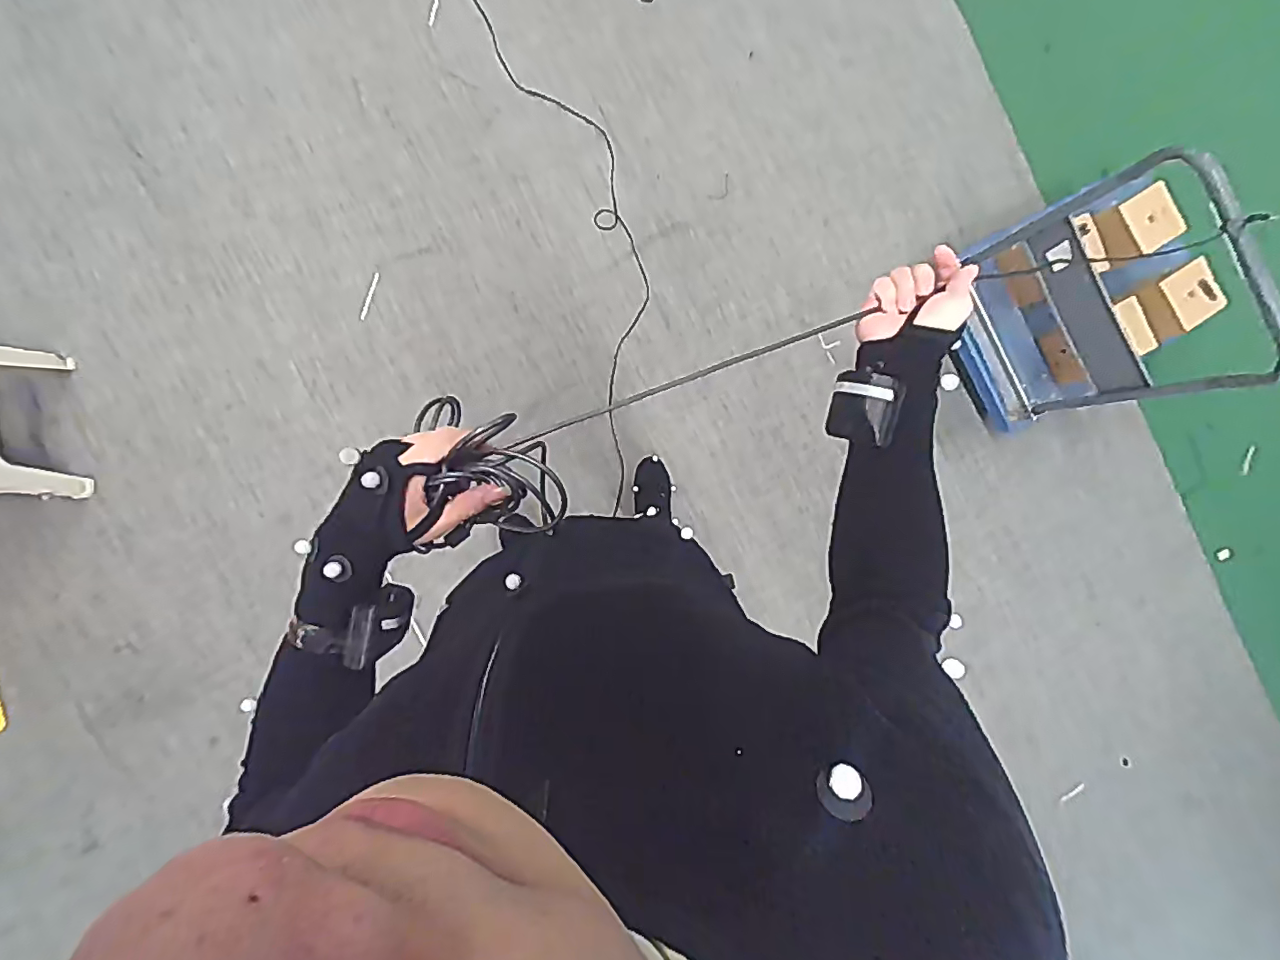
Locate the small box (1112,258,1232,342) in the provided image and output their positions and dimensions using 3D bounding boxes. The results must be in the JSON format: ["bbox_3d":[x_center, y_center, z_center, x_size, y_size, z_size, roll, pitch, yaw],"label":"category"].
[{"bbox_3d":[1.596,-0.528,1.633,0.179,0.176,0.168,-31,92,-7],"label":"small box"}]

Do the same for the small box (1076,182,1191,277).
[{"bbox_3d":[1.464,-0.743,1.622,0.179,0.176,0.168,-31,93,-8],"label":"small box"}]

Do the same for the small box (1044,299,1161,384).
[{"bbox_3d":[1.359,-0.404,1.597,0.179,0.176,0.168,-27,92,-7],"label":"small box"}]
